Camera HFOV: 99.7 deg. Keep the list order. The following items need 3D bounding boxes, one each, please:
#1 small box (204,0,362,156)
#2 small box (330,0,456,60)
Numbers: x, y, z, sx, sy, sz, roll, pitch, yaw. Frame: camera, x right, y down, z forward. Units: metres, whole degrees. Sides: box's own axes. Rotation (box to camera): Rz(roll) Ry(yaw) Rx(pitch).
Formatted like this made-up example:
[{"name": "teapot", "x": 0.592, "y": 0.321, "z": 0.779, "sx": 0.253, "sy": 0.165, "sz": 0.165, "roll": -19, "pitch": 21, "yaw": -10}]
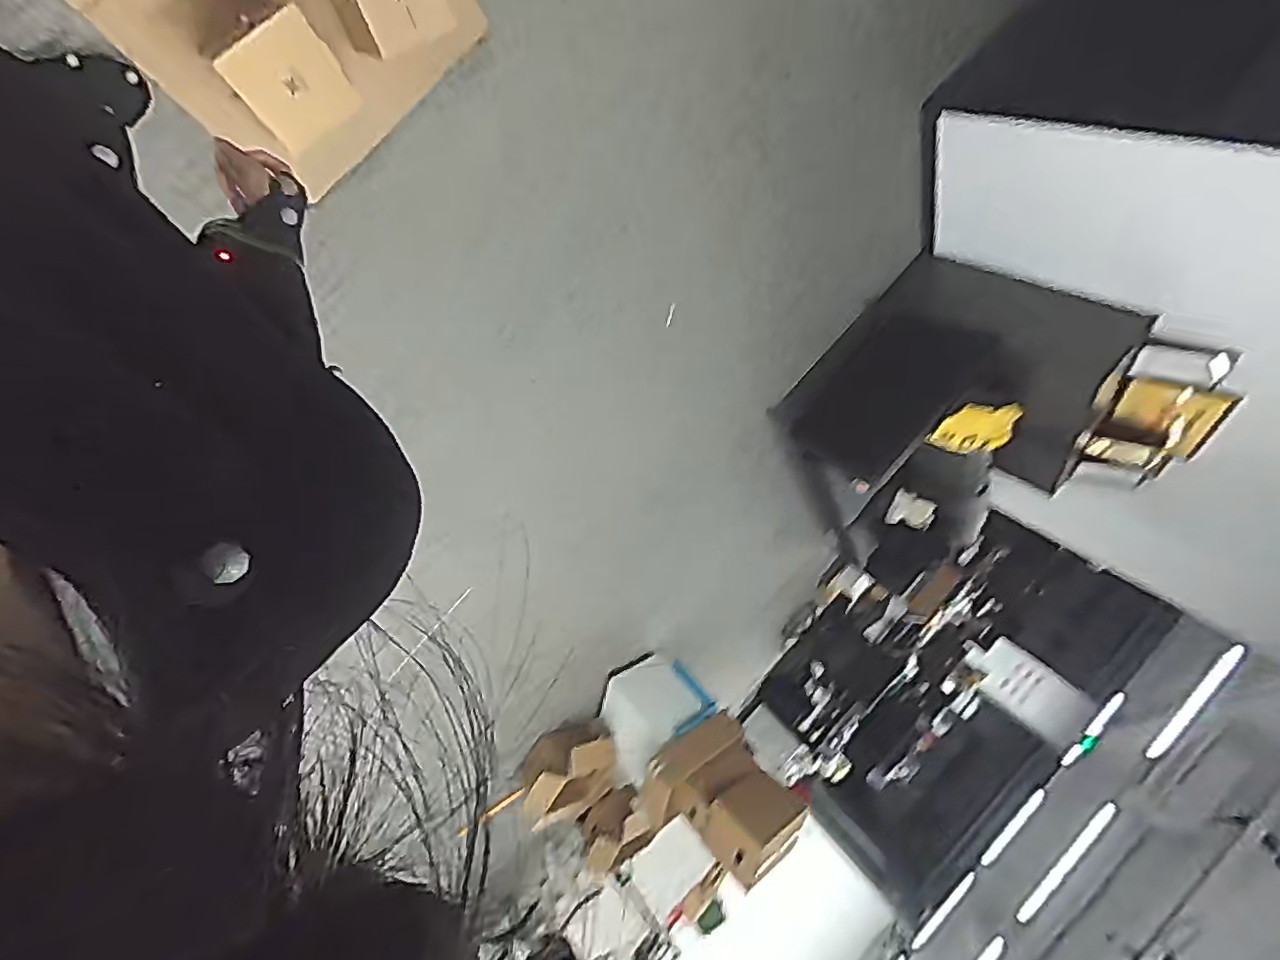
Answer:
[{"name": "small box", "x": -0.664, "y": -0.743, "z": 1.002, "sx": 0.179, "sy": 0.176, "sz": 0.168, "roll": -45, "pitch": 144, "yaw": -7}, {"name": "small box", "x": -0.489, "y": -0.930, "z": 1.019, "sx": 0.168, "sy": 0.176, "sz": 0.179, "roll": -38, "pitch": 144, "yaw": -16}]
